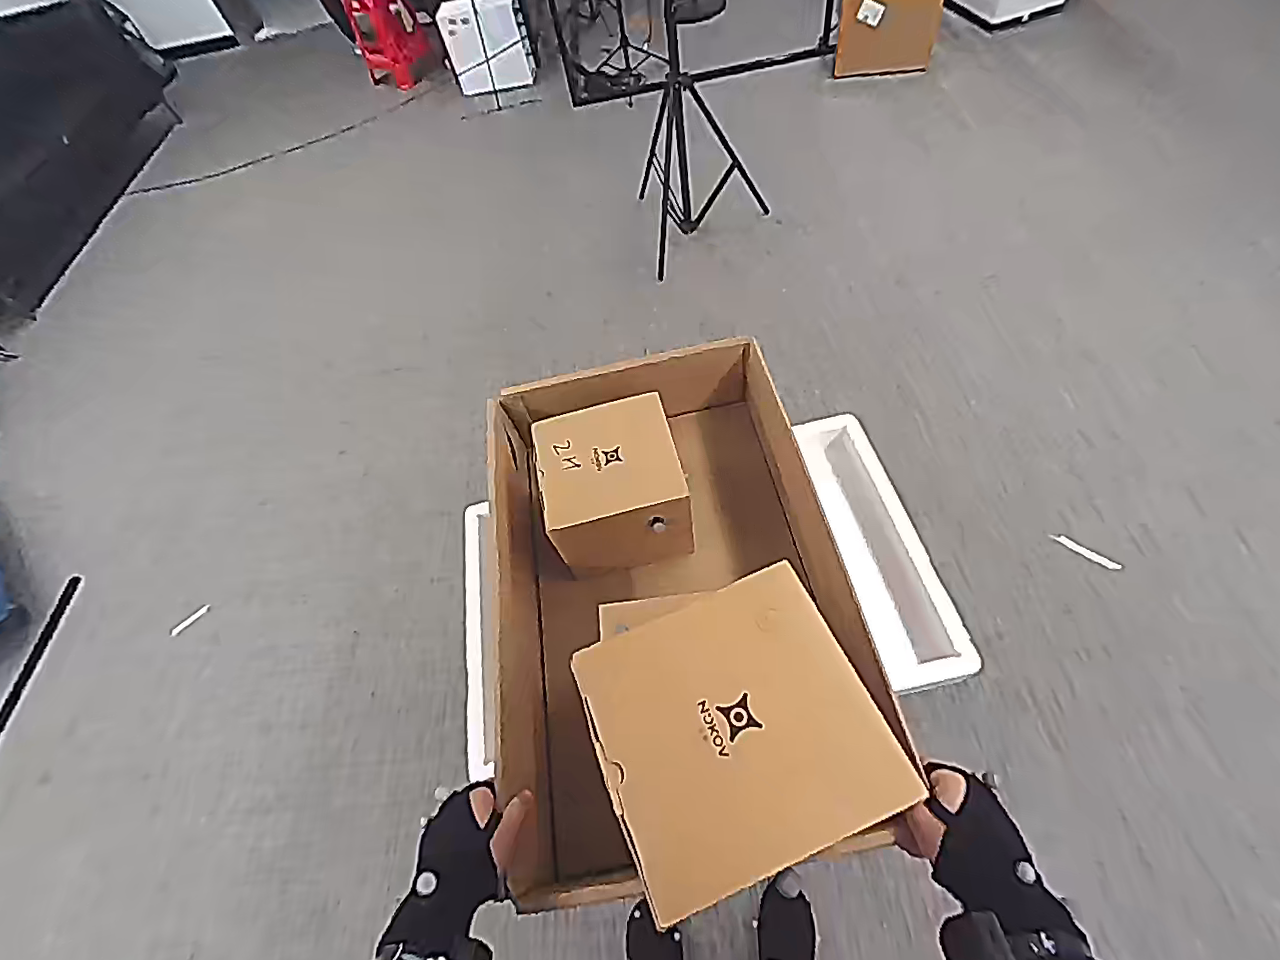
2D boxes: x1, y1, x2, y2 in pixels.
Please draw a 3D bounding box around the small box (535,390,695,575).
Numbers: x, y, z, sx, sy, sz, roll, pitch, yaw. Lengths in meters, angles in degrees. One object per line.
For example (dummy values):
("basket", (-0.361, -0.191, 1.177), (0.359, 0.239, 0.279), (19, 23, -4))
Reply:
("small box", (-0.029, 0.009, 0.733), (0.179, 0.176, 0.168), (-14, 58, -1))
